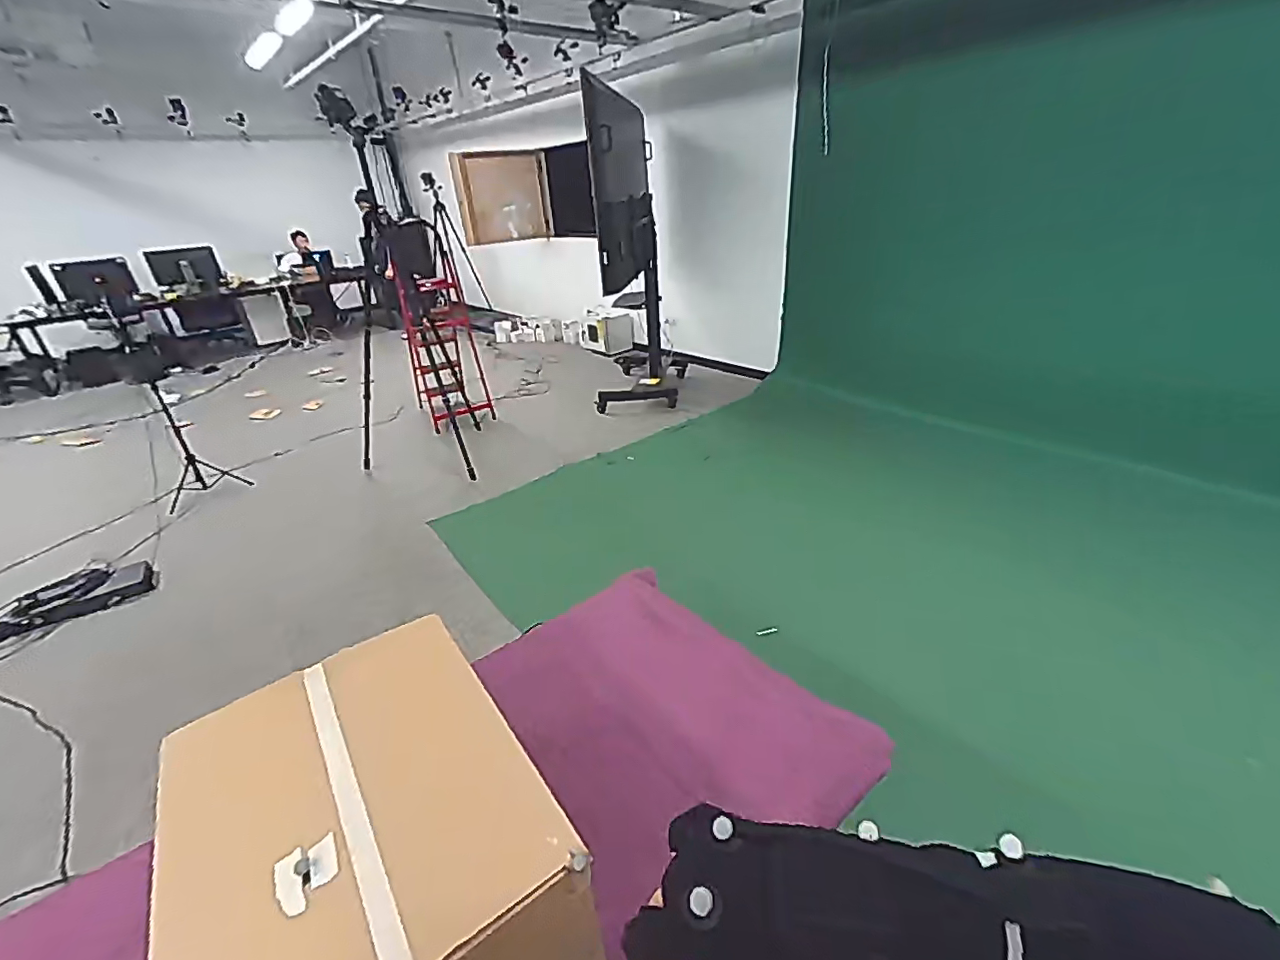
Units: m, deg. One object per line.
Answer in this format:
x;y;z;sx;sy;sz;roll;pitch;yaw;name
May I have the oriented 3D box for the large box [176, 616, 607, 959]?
-0.276;0.438;0.620;0.320;0.320;0.408;-22;34;-31;large box
